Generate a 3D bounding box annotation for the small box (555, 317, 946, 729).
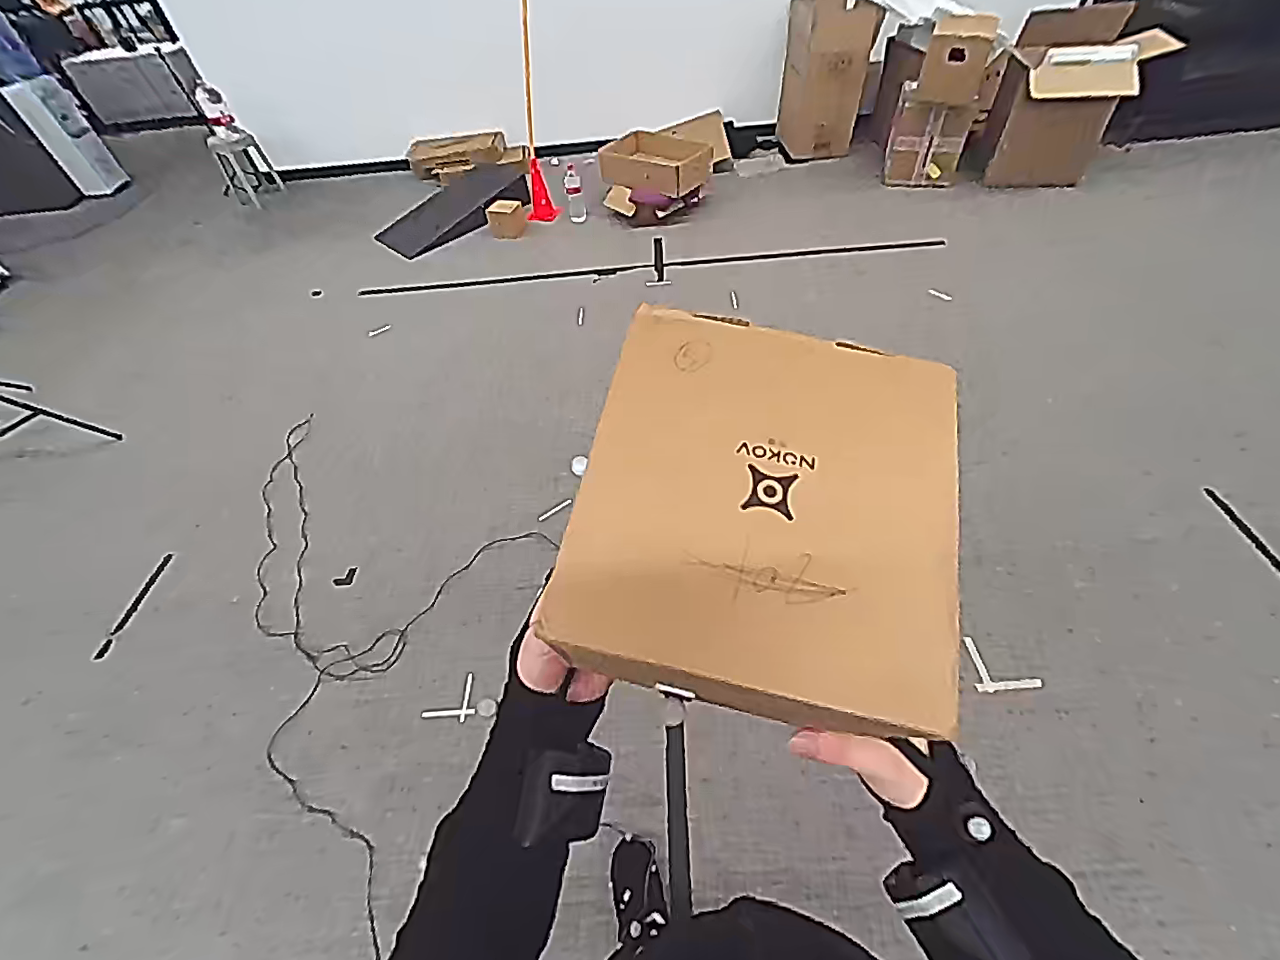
[{"bbox_3d":[0.057,0.038,0.327,0.168,0.176,0.179,12,67,3],"label":"small box"}]
